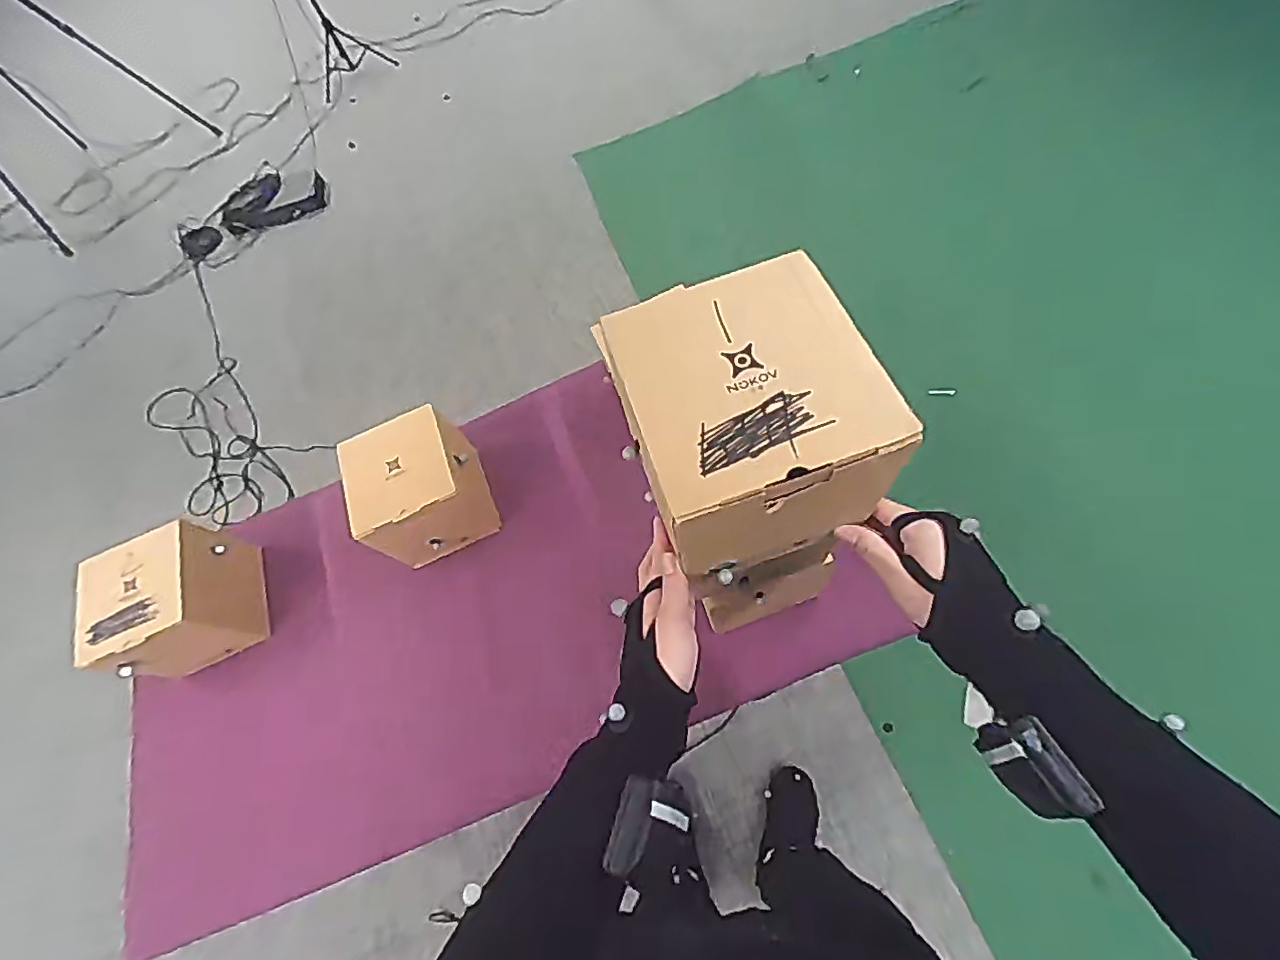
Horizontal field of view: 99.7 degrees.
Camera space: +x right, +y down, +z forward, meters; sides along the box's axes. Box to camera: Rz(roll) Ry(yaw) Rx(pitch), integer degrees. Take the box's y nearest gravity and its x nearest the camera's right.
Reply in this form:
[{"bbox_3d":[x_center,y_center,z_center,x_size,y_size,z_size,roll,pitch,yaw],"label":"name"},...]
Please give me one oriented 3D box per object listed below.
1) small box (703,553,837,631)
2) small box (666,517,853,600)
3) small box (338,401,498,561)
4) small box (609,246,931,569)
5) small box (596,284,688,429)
[{"bbox_3d":[0.148,0.089,0.753,0.168,0.176,0.179,-21,61,1],"label":"small box"},{"bbox_3d":[0.108,0.012,0.588,0.168,0.176,0.179,-16,64,1],"label":"small box"},{"bbox_3d":[-0.354,0.008,0.882,0.168,0.176,0.179,-24,65,-2],"label":"small box"},{"bbox_3d":[0.088,-0.042,0.433,0.168,0.176,0.179,-18,63,-1],"label":"small box"},{"bbox_3d":[0.047,-0.178,0.891,0.168,0.176,0.179,-25,65,1],"label":"small box"}]
